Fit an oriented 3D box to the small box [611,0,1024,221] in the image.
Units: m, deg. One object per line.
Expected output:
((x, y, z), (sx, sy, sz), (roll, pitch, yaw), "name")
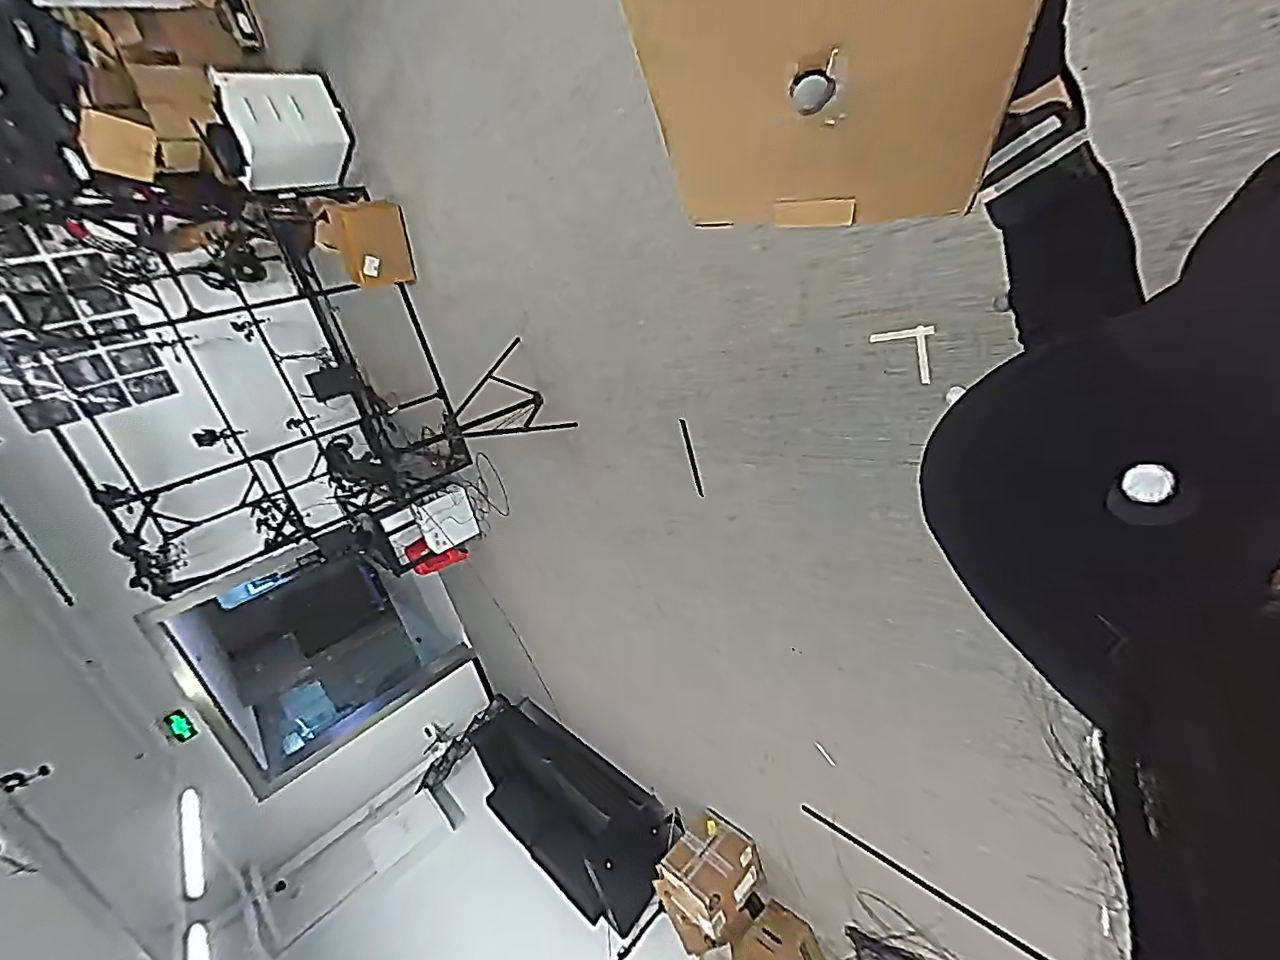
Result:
((0.090, -0.260, 0.260), (0.168, 0.179, 0.176), (8, 165, 21), "small box")
